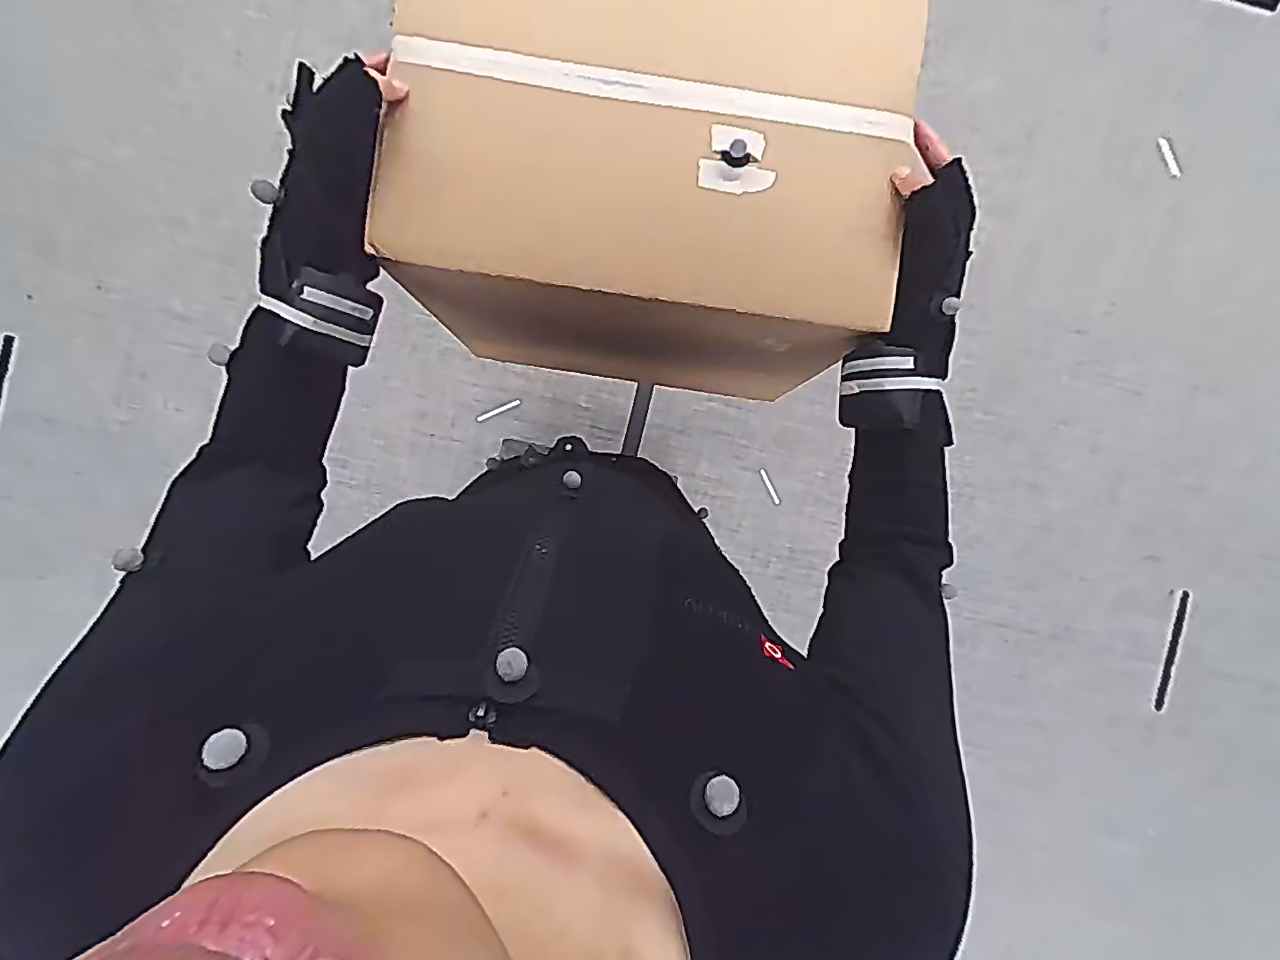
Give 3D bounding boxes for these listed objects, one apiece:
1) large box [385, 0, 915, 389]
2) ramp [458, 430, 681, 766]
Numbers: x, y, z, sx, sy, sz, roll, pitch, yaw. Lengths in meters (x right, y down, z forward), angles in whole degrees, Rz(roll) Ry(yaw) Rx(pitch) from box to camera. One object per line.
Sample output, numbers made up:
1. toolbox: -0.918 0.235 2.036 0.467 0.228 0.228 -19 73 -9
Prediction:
1. large box: 0.007 -0.299 0.579 0.408 0.320 0.320 8 89 -2
2. ramp: -0.225 0.383 1.589 0.509 0.206 0.991 11 93 -3
